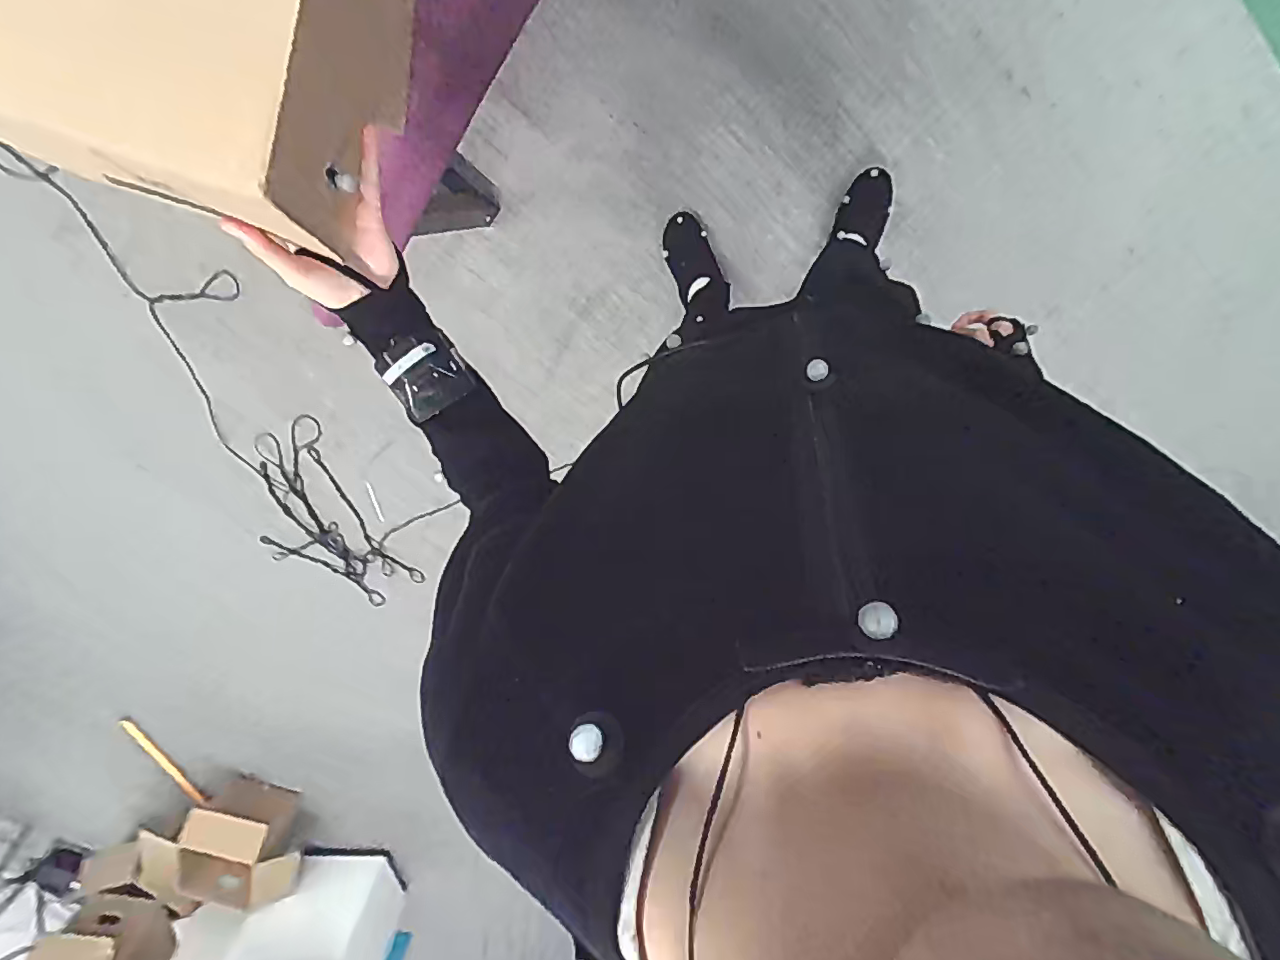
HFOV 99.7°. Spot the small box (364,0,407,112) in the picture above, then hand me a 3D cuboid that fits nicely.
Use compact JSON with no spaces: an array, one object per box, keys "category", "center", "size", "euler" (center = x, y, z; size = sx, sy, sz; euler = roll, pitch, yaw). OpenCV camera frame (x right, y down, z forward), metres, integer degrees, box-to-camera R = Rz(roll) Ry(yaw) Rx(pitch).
[{"category":"small box","center":[-0.324,-0.458,0.482],"size":[0.168,0.176,0.179],"euler":[16,117,-5]}]

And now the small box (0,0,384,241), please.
[{"category":"small box","center":[-0.250,-0.257,0.289],"size":[0.168,0.179,0.176],"euler":[14,98,-20]}]
